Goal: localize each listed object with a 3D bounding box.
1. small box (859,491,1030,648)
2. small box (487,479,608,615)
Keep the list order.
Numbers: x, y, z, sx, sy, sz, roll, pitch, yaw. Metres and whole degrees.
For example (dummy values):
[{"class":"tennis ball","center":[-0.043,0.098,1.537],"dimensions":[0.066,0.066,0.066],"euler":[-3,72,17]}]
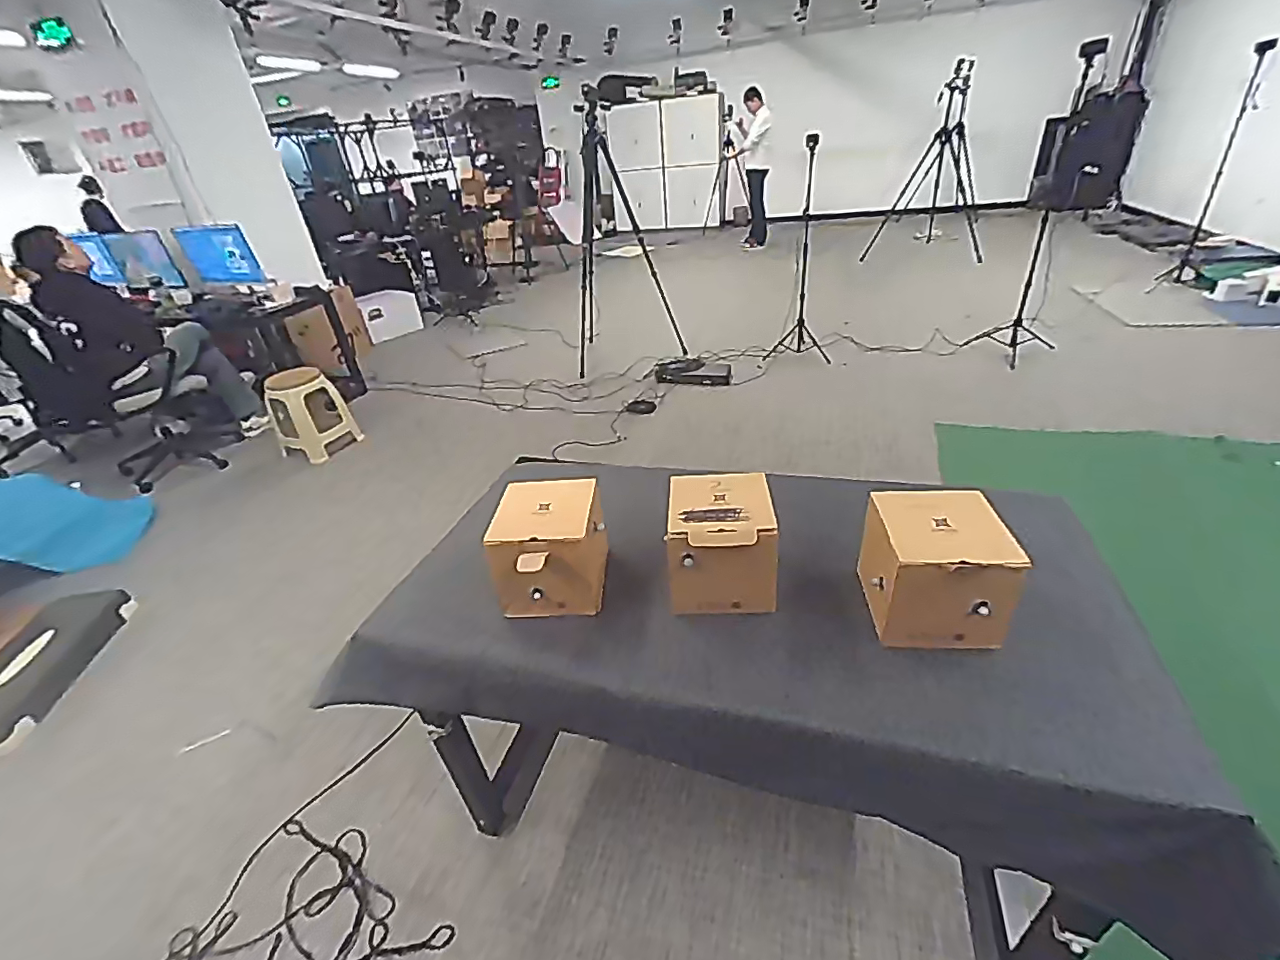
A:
[{"class":"small box","center":[0.443,0.134,0.820],"dimensions":[0.168,0.176,0.179],"euler":[0,31,8]},{"class":"small box","center":[-0.151,0.116,0.953],"dimensions":[0.168,0.176,0.179],"euler":[-3,33,5]}]
